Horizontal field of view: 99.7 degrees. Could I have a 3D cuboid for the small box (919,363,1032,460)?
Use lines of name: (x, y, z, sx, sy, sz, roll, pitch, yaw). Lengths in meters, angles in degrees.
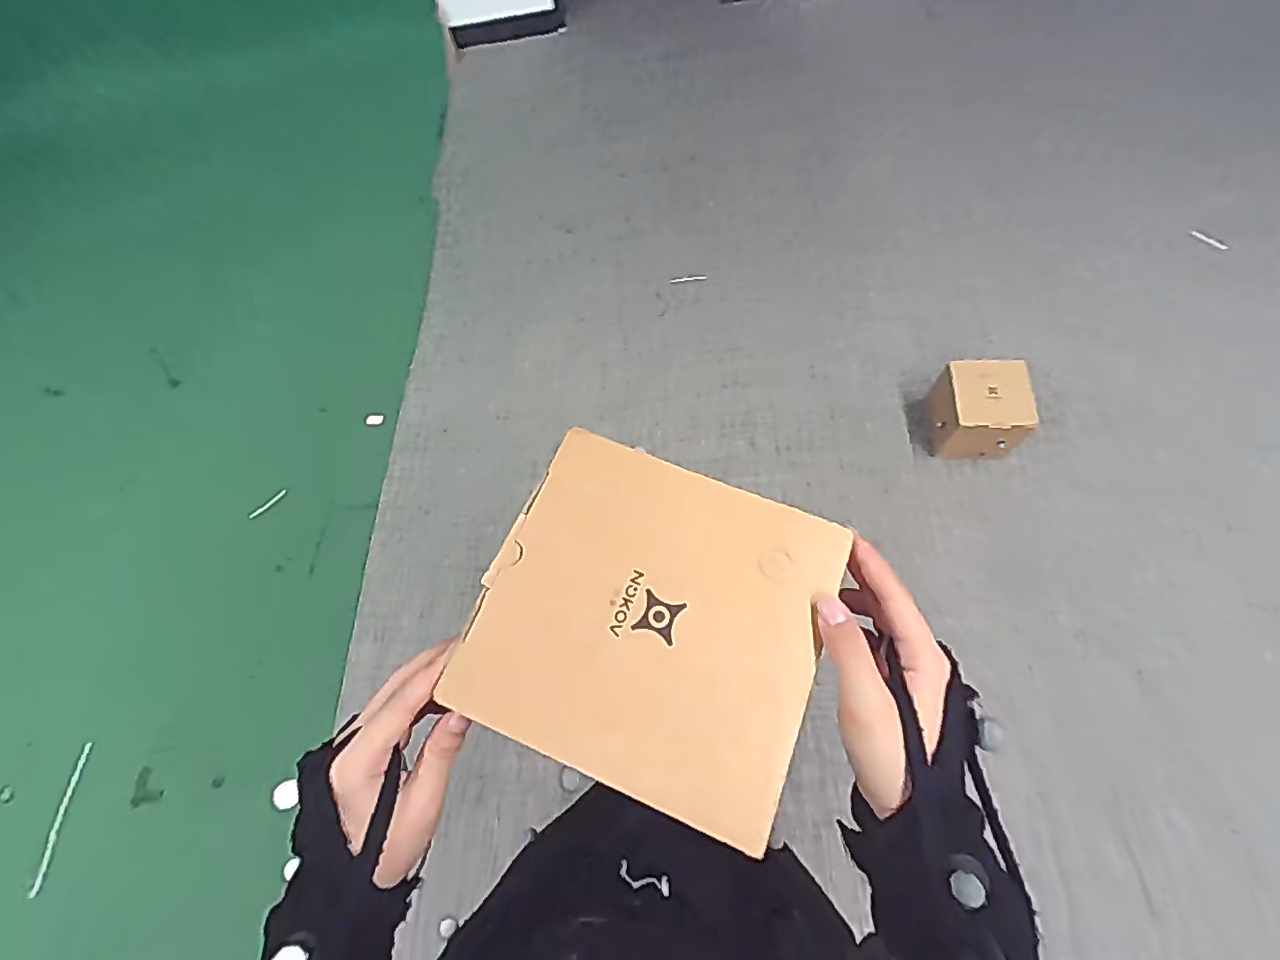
small box: (0.789, -0.158, 1.291, 0.168, 0.176, 0.179, 2, 66, 7)
